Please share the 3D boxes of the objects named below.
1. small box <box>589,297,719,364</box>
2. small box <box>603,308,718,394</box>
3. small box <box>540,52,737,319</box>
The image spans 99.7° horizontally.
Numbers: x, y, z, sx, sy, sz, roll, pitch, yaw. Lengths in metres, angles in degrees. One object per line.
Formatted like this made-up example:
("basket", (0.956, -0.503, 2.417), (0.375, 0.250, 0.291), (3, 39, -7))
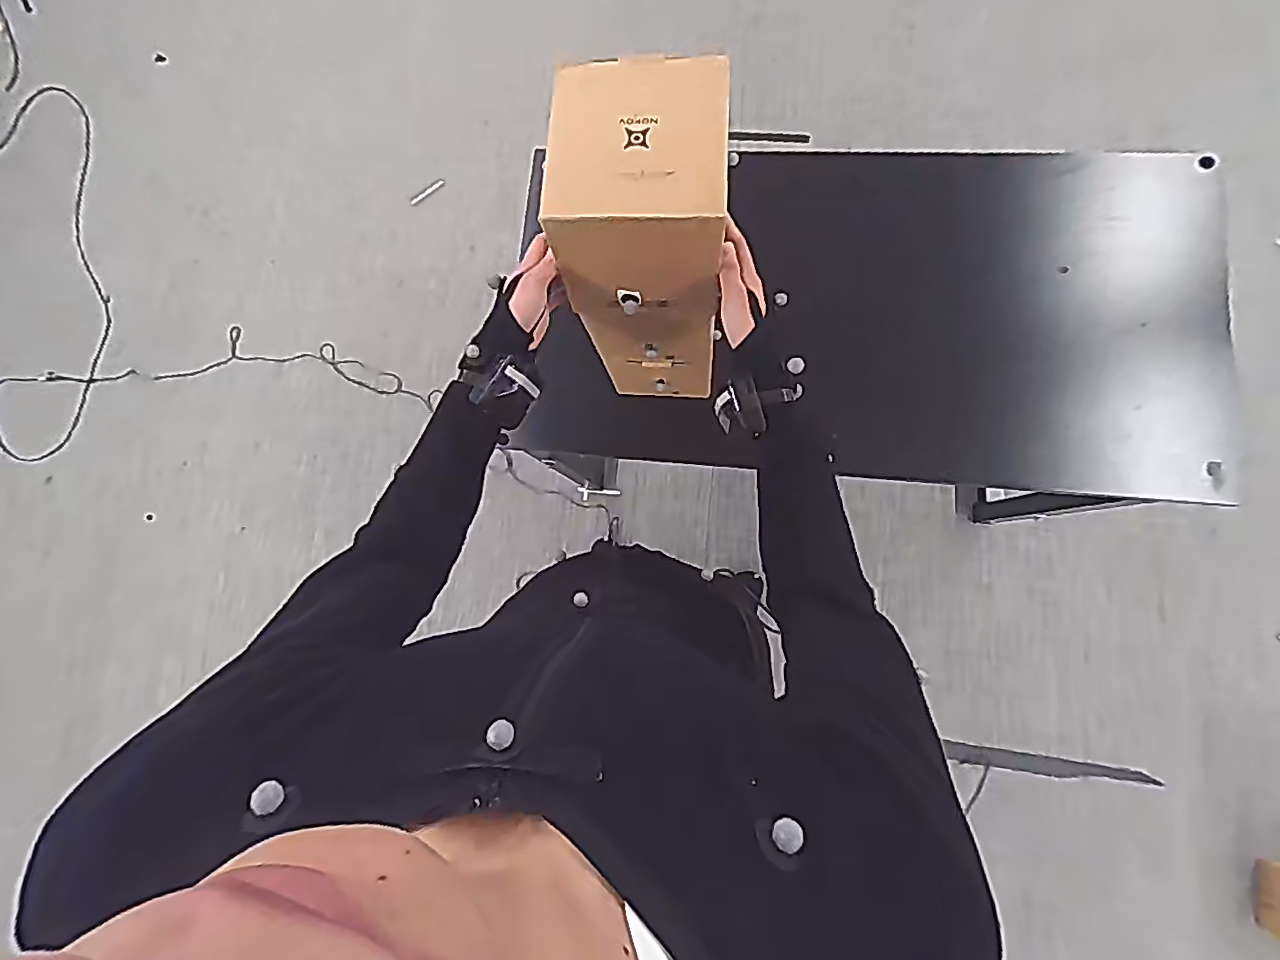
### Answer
("small box", (0.022, -0.272, 0.725), (0.168, 0.176, 0.179), (4, 82, 8))
("small box", (0.041, -0.246, 0.887), (0.168, 0.176, 0.179), (3, 82, 7))
("small box", (0.005, -0.288, 0.553), (0.168, 0.176, 0.179), (2, 77, 5))
